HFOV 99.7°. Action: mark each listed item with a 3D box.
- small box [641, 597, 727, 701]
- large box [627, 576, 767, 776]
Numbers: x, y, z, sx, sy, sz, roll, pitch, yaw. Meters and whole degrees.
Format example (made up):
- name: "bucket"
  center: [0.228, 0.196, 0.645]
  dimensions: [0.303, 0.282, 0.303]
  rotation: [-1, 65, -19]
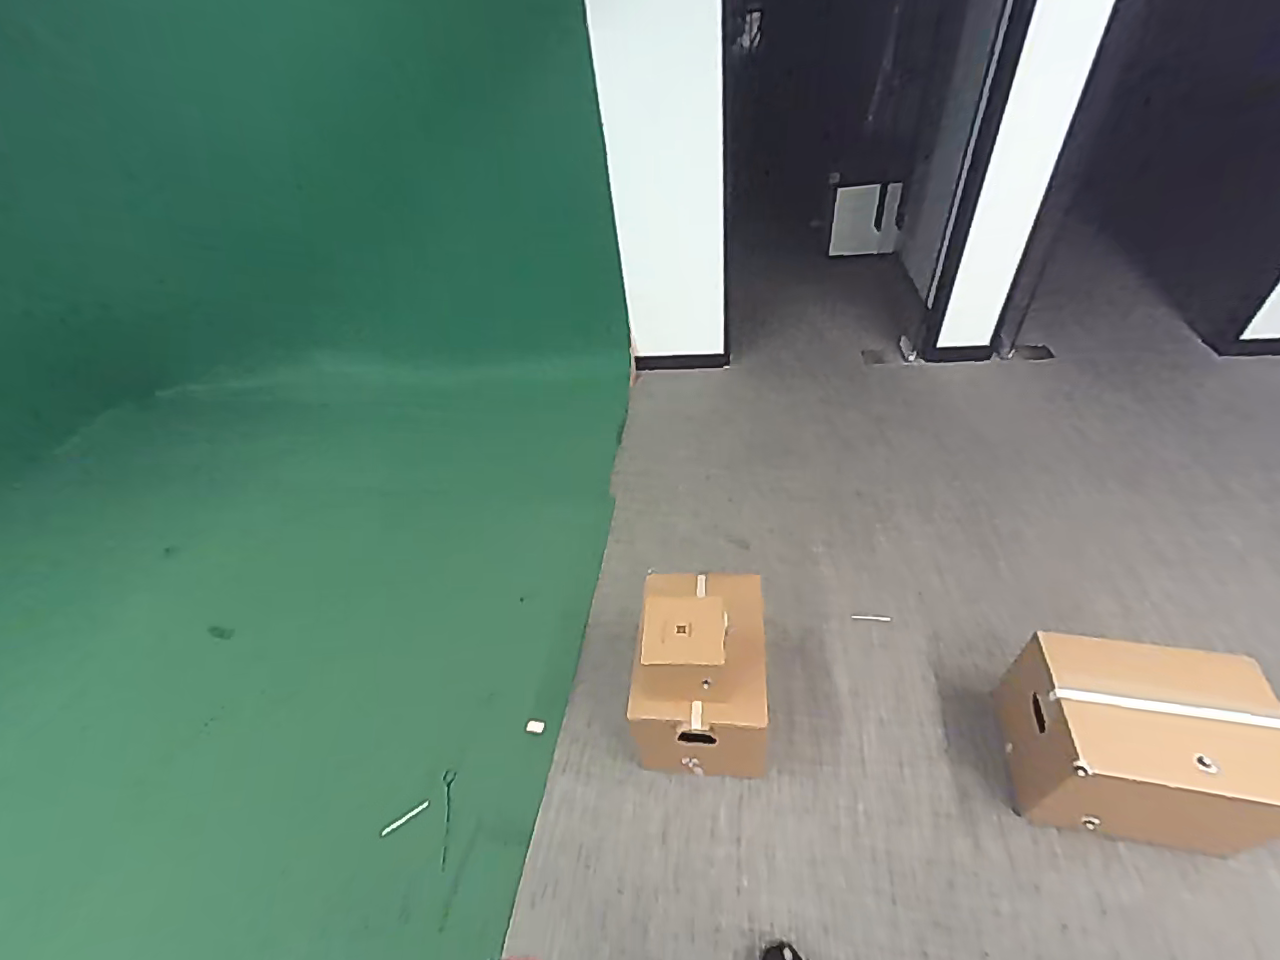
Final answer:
- name: "small box"
  center: [0.105, 0.379, 1.210]
  dimensions: [0.179, 0.176, 0.168]
  rotation: [-2, 42, 10]
- name: "large box"
  center: [0.159, 0.509, 1.423]
  dimensions: [0.320, 0.320, 0.408]
  rotation: [0, 43, 9]
